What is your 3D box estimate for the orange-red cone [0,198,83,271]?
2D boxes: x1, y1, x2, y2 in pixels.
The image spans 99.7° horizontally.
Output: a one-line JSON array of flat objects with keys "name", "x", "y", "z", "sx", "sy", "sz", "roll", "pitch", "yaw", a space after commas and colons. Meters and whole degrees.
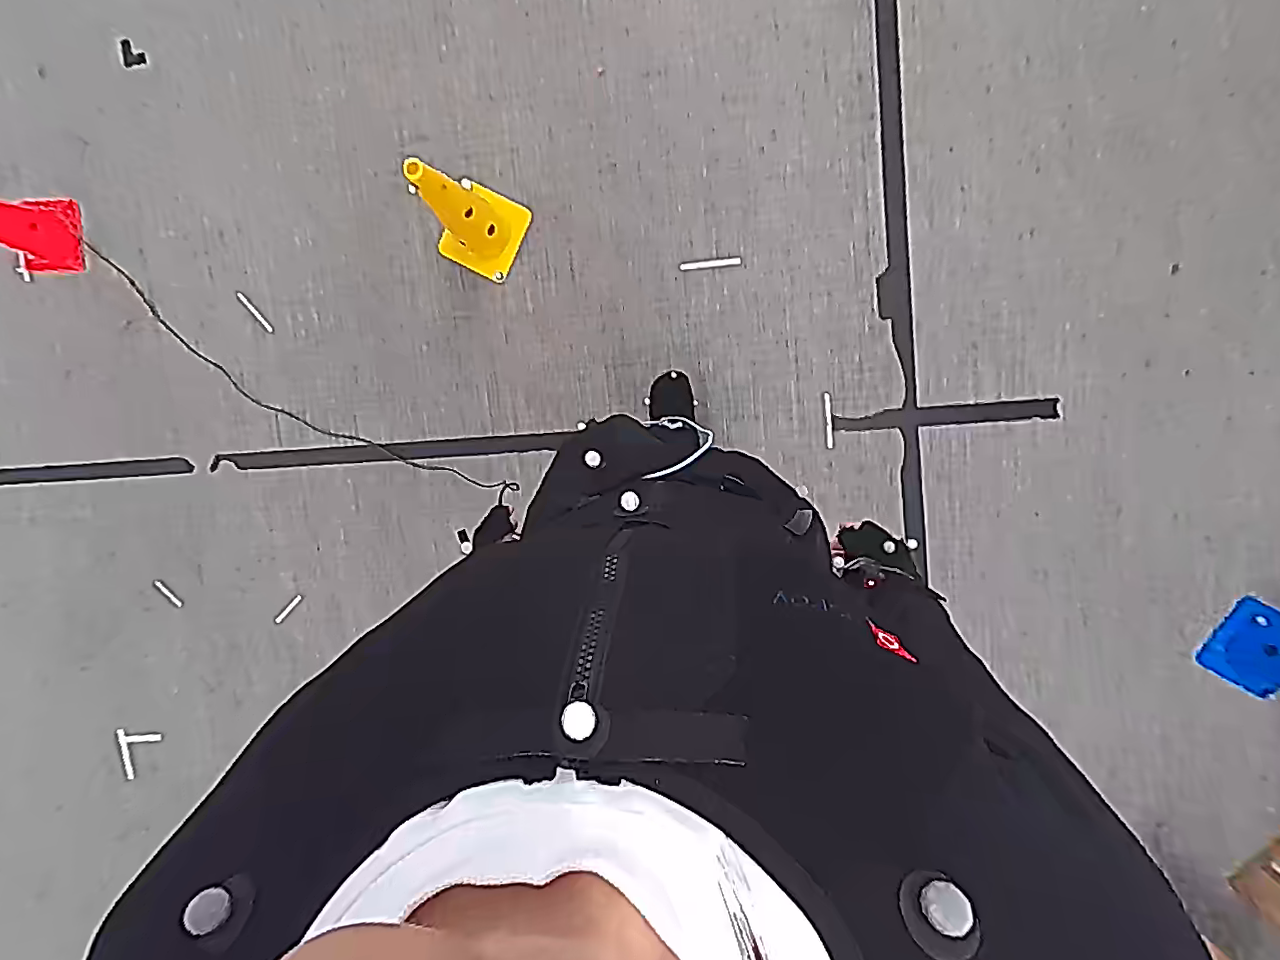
[{"name": "orange-red cone", "x": -1.708, "y": -0.684, "z": 1.381, "sx": 0.199, "sy": 0.360, "sz": 0.198, "roll": 3, "pitch": 97, "yaw": 5}]
